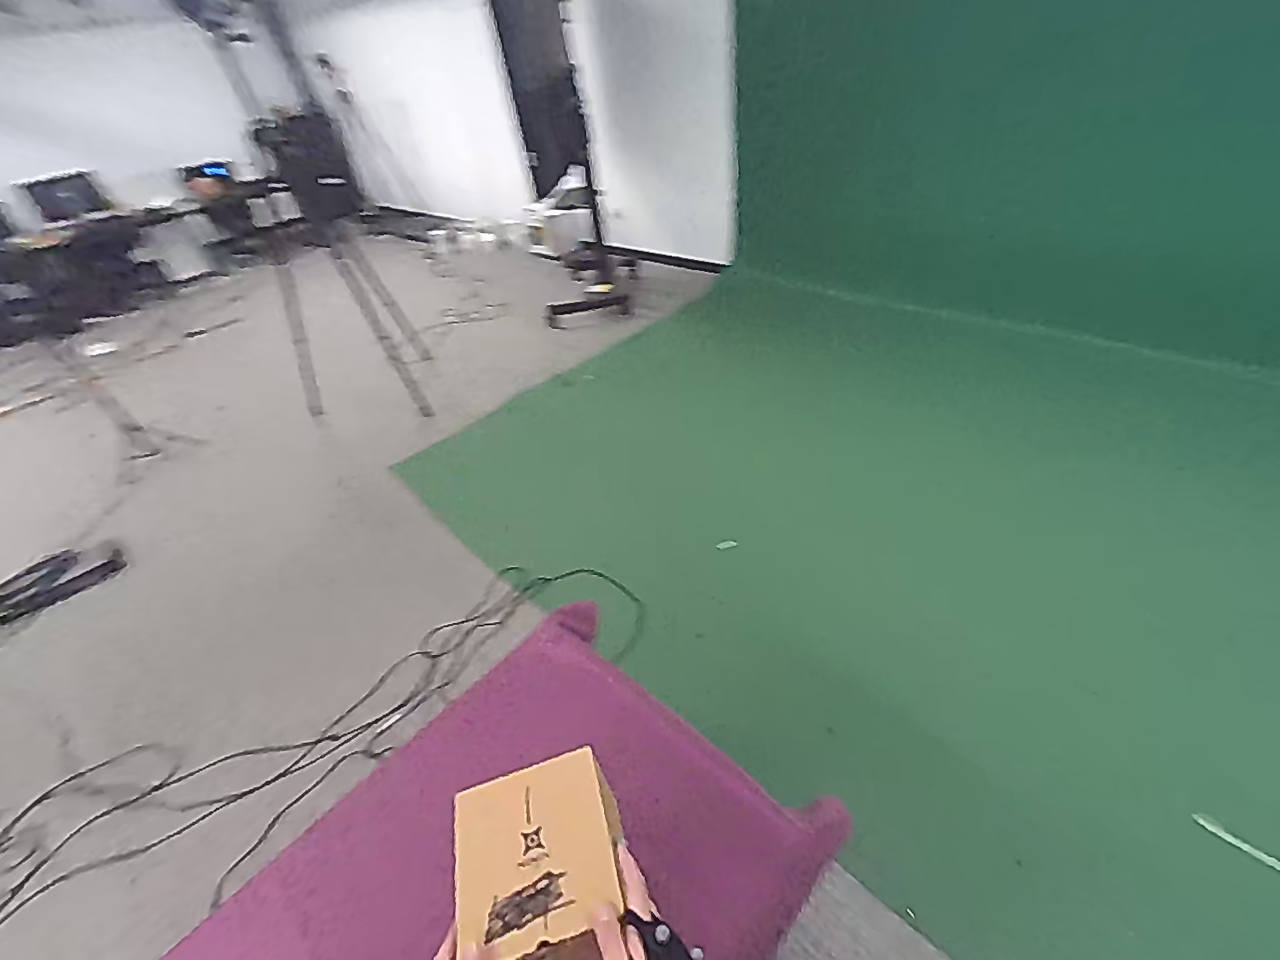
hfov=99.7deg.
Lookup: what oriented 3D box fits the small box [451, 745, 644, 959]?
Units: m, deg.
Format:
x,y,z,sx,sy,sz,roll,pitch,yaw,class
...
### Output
x,y,z,sx,sy,sz,roll,pitch,yaw,class
-0.101,0.444,0.611,0.168,0.176,0.179,-16,38,-6,small box
